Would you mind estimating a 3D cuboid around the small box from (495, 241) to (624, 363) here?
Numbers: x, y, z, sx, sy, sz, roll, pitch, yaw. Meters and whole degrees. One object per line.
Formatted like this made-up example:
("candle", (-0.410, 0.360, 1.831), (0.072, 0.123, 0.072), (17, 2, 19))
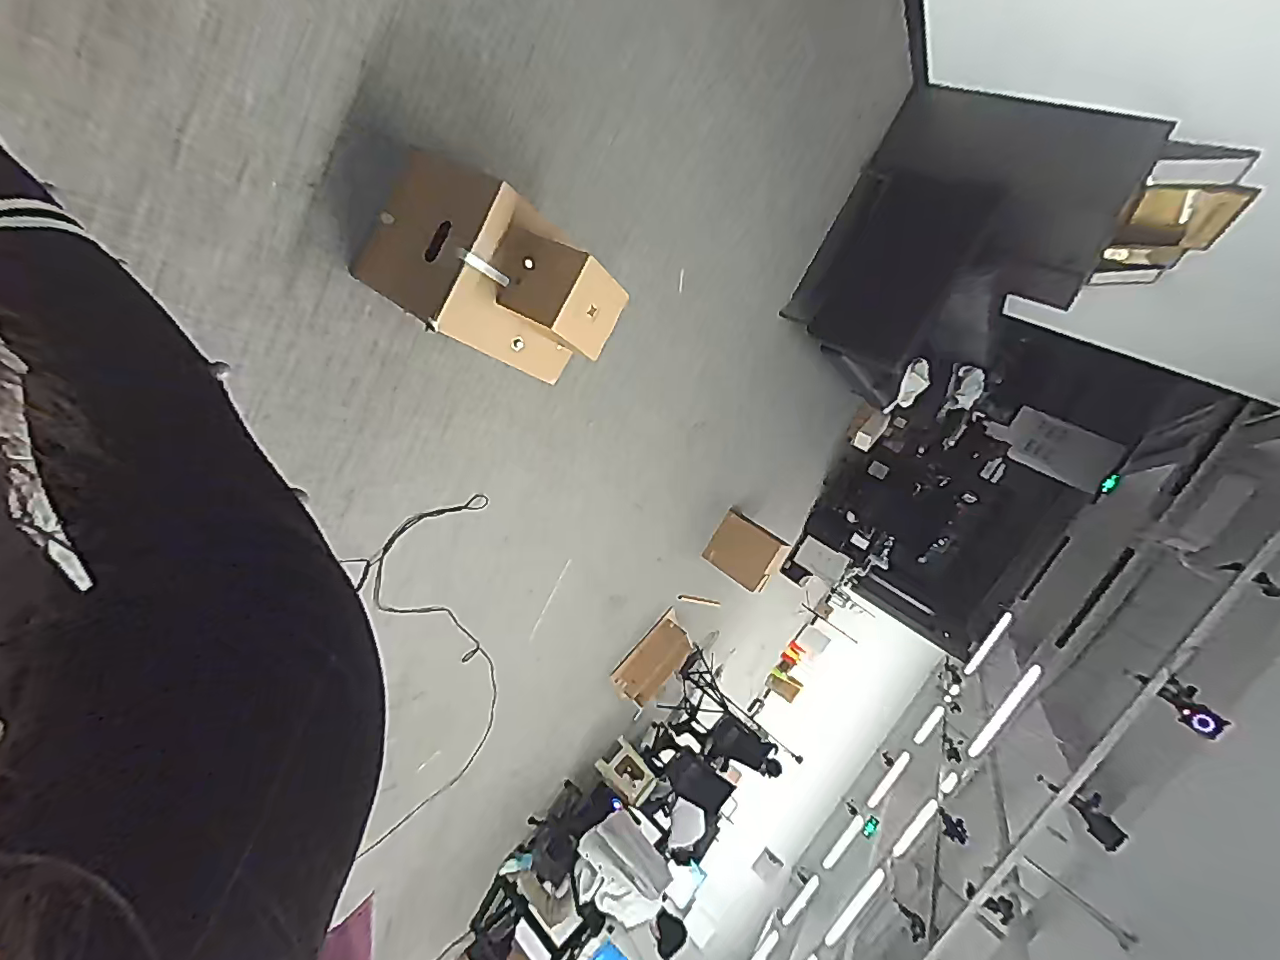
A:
("small box", (-0.170, -0.382, 1.157), (0.168, 0.176, 0.179), (-61, 152, 3))
